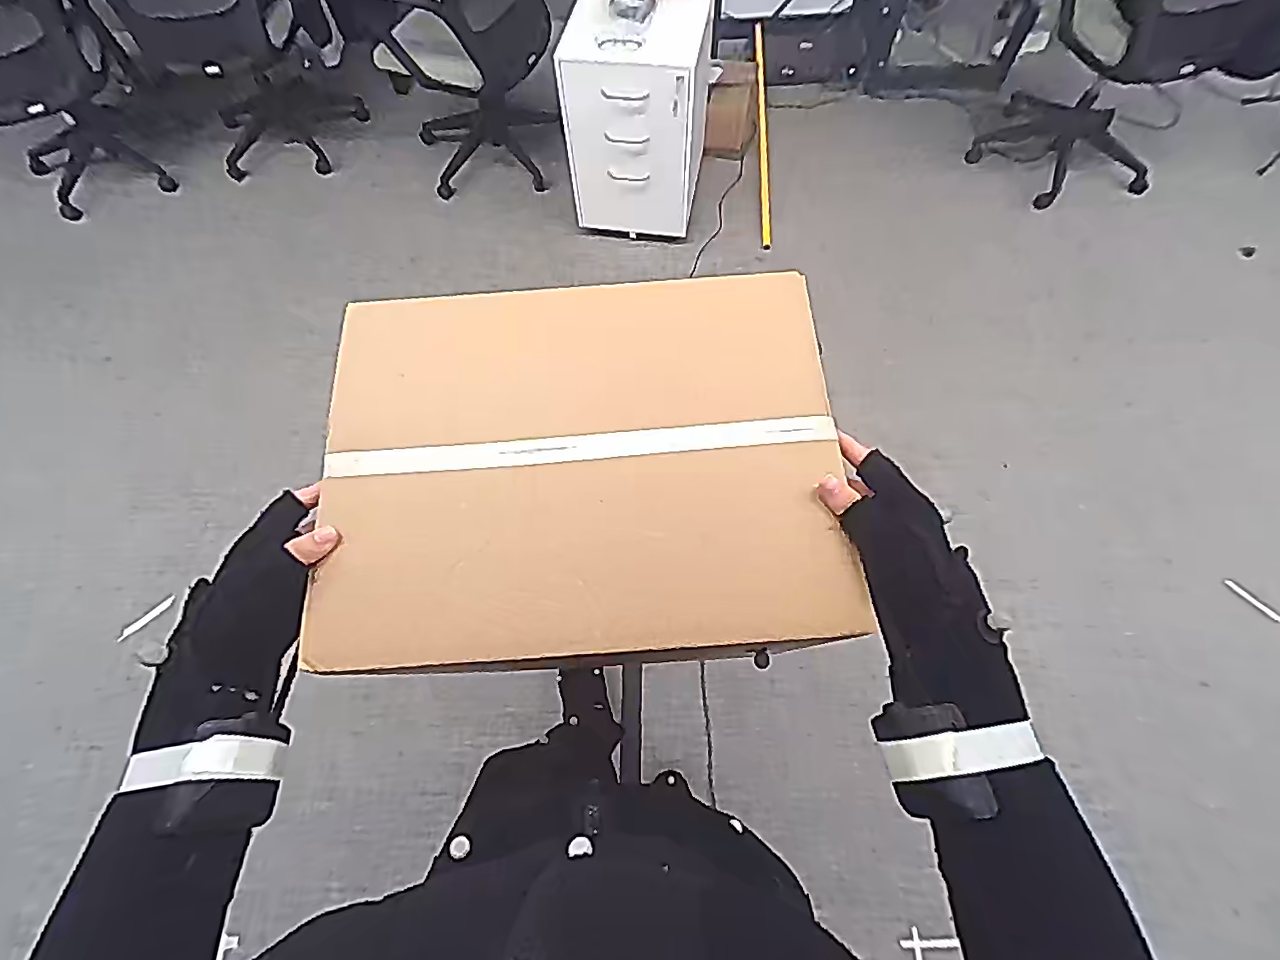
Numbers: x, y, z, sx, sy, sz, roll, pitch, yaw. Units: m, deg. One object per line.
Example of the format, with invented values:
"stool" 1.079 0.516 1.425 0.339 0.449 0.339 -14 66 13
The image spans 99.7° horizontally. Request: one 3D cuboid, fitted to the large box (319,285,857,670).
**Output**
"large box" -0.043 0.027 0.582 0.408 0.320 0.320 -3 70 0
